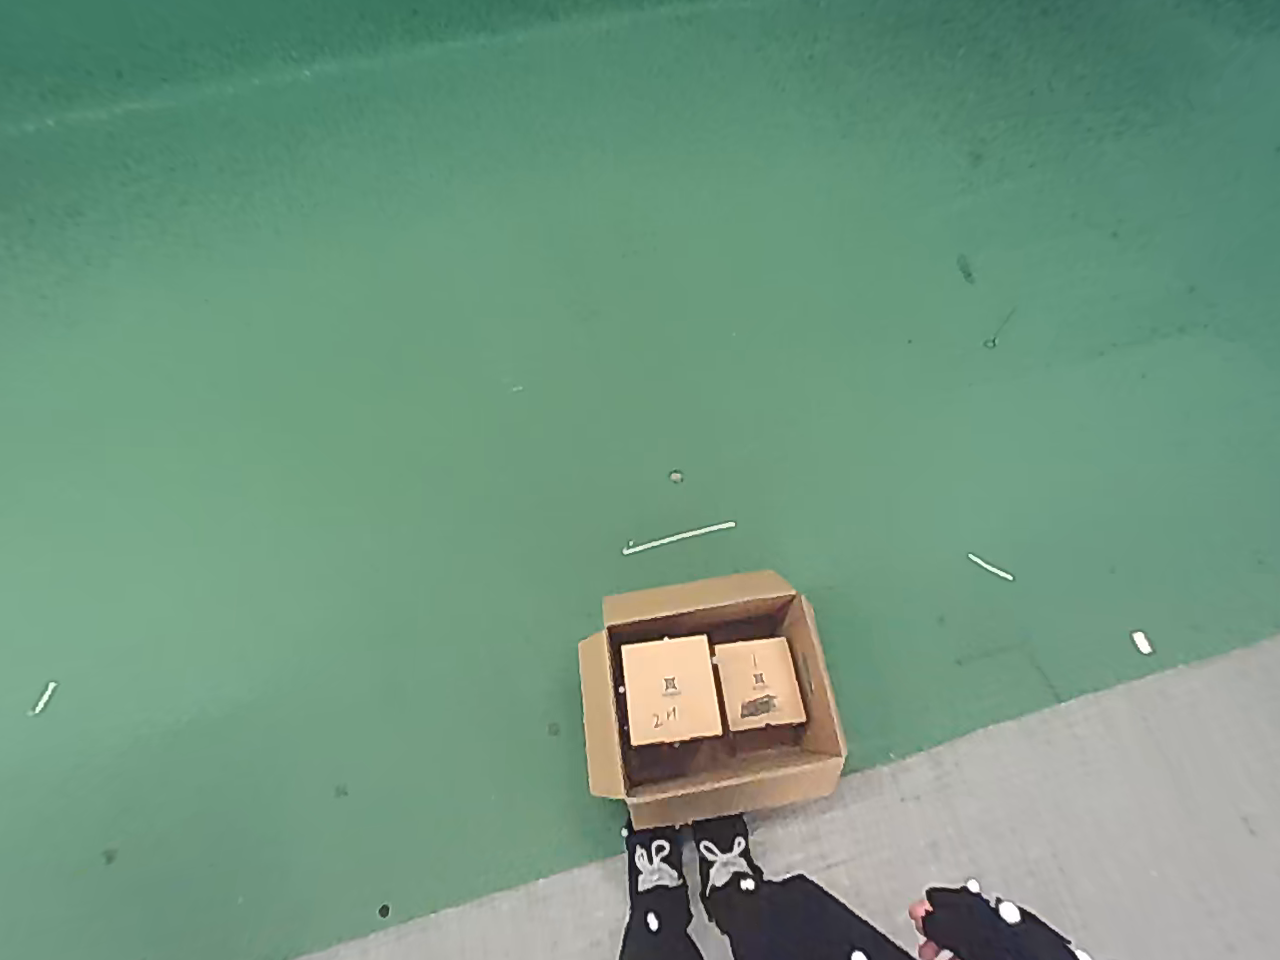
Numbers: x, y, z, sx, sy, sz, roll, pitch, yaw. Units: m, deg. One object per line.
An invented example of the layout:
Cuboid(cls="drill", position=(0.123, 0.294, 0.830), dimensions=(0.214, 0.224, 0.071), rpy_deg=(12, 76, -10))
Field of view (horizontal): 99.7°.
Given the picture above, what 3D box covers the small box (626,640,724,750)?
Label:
Cuboid(cls="small box", position=(0.063, 0.423, 1.059), dimensions=(0.168, 0.176, 0.179), rpy_deg=(-7, 66, 0))
